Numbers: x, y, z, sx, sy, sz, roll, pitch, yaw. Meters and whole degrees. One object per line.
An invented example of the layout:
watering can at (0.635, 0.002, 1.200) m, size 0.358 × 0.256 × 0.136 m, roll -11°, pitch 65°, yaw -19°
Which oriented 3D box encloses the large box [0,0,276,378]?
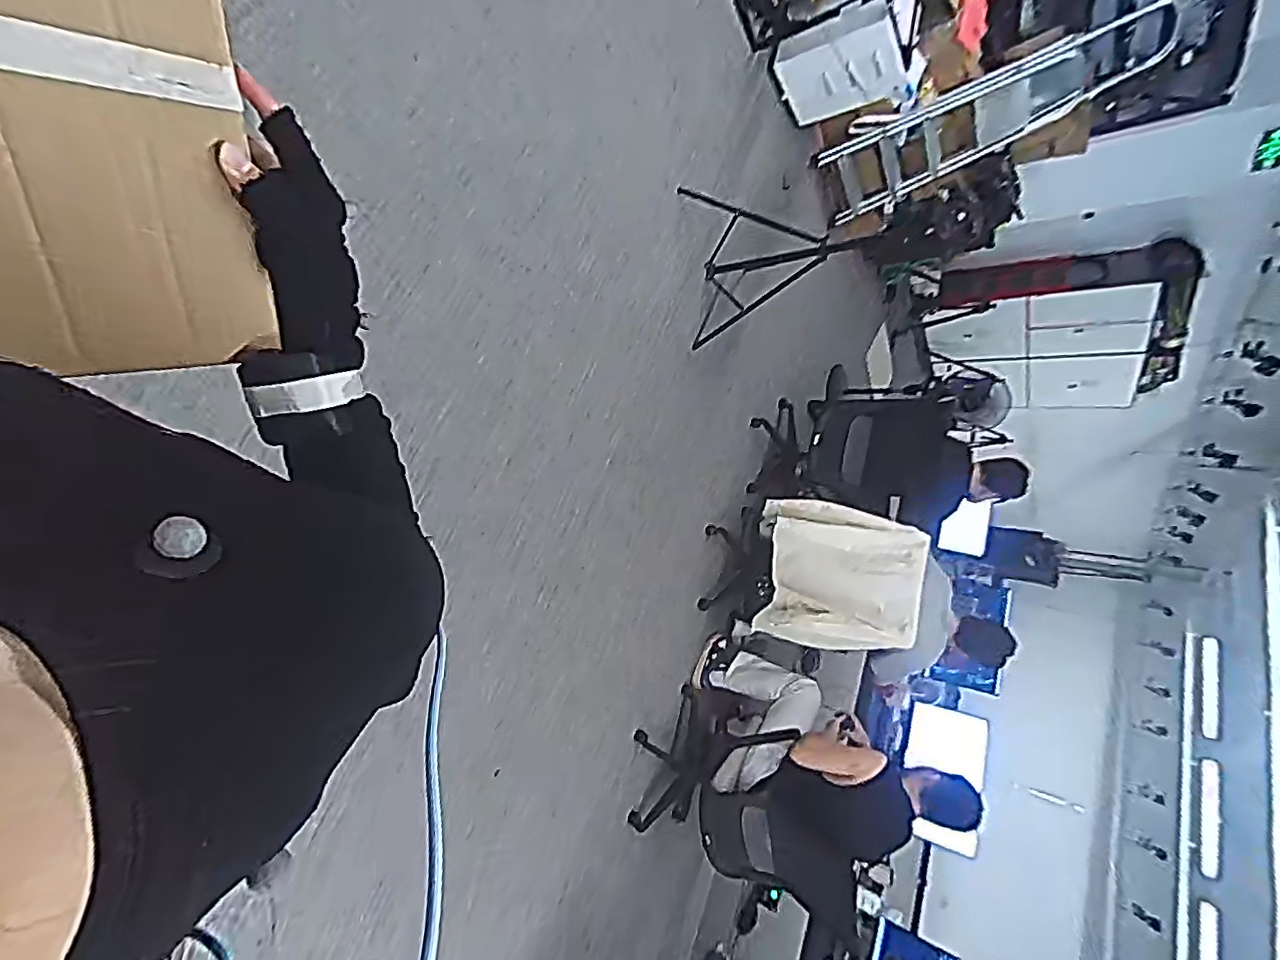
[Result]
large box at (-0.486, -0.236, 0.273) m, size 0.408 × 0.320 × 0.320 m, roll -20°, pitch 131°, yaw -42°
